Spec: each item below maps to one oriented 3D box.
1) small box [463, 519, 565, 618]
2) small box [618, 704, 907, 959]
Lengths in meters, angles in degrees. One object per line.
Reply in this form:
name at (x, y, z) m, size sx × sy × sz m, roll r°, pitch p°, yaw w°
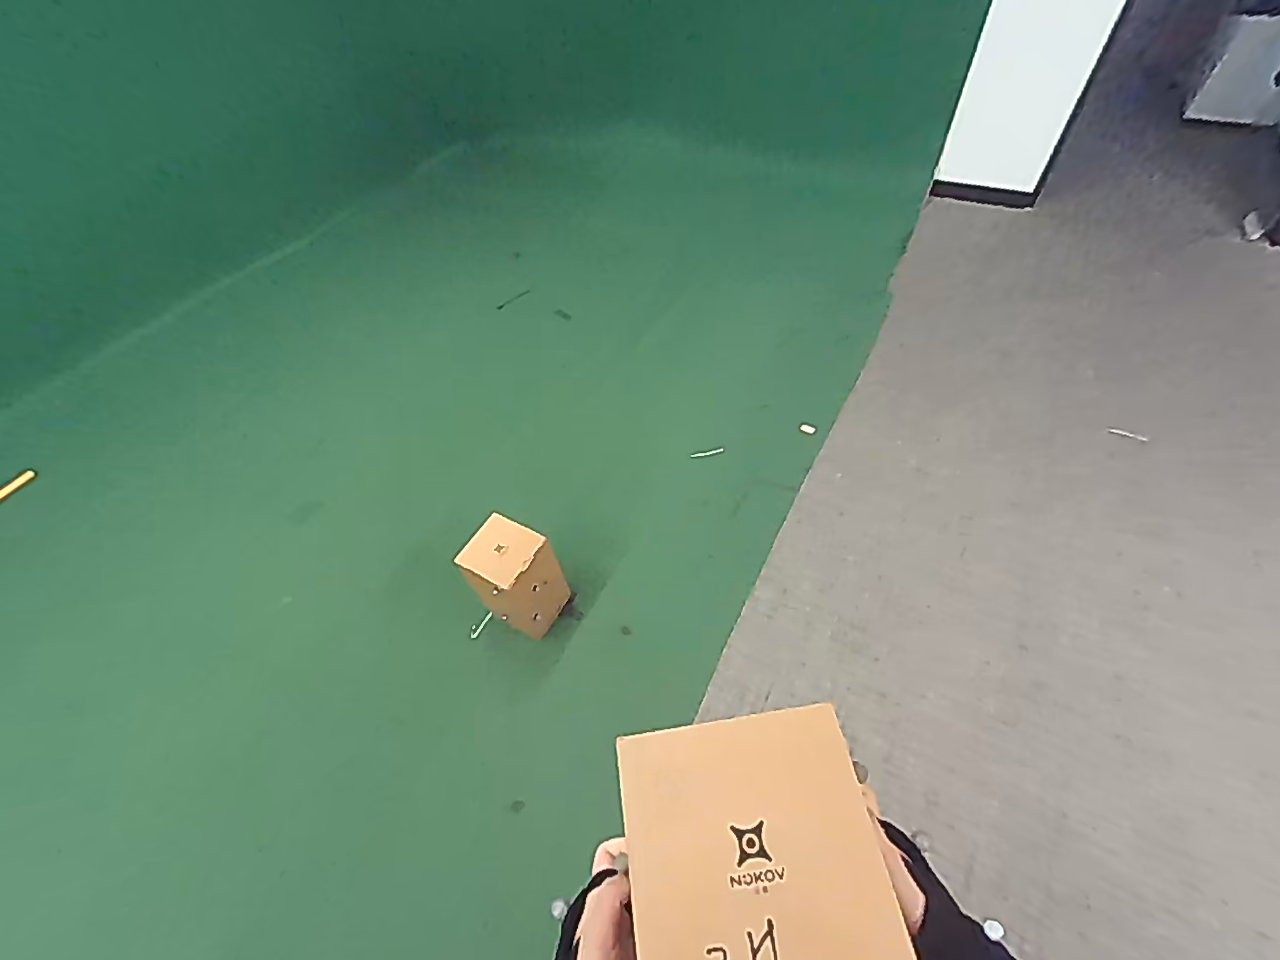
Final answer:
small box at (-0.324, 0.238, 1.422) m, size 0.179 × 0.176 × 0.168 m, roll 21°, pitch 58°, yaw 22°
small box at (0.083, 0.299, 0.424) m, size 0.168 × 0.176 × 0.179 m, roll -12°, pitch 53°, yaw 3°
